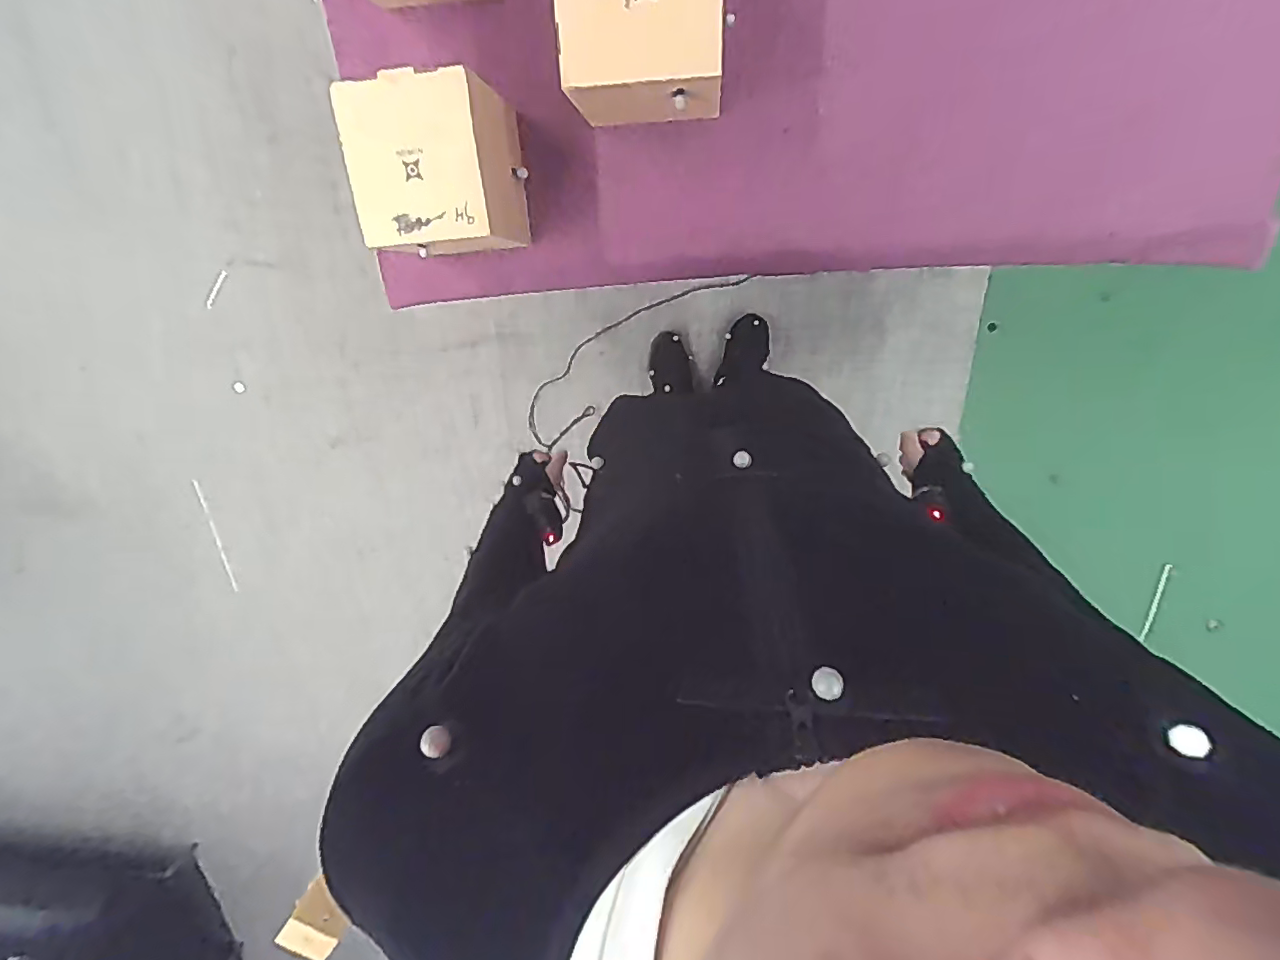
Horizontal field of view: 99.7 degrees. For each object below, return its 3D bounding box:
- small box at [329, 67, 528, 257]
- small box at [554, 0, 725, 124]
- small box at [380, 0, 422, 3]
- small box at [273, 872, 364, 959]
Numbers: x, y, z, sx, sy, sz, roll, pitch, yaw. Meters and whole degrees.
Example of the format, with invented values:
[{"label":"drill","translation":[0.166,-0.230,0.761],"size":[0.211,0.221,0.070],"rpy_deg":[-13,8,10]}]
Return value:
[{"label":"small box","translation":[-0.256,-0.393,0.700],"size":[0.168,0.176,0.179],"rpy_deg":[-1,110,9]},{"label":"small box","translation":[0.006,-0.524,0.617],"size":[0.179,0.176,0.168],"rpy_deg":[1,111,7]},{"label":"small box","translation":[-0.268,-0.665,0.596],"size":[0.179,0.176,0.168],"rpy_deg":[0,112,6]},{"label":"small box","translation":[-1.081,1.476,1.829],"size":[0.179,0.176,0.168],"rpy_deg":[33,111,-8]}]
